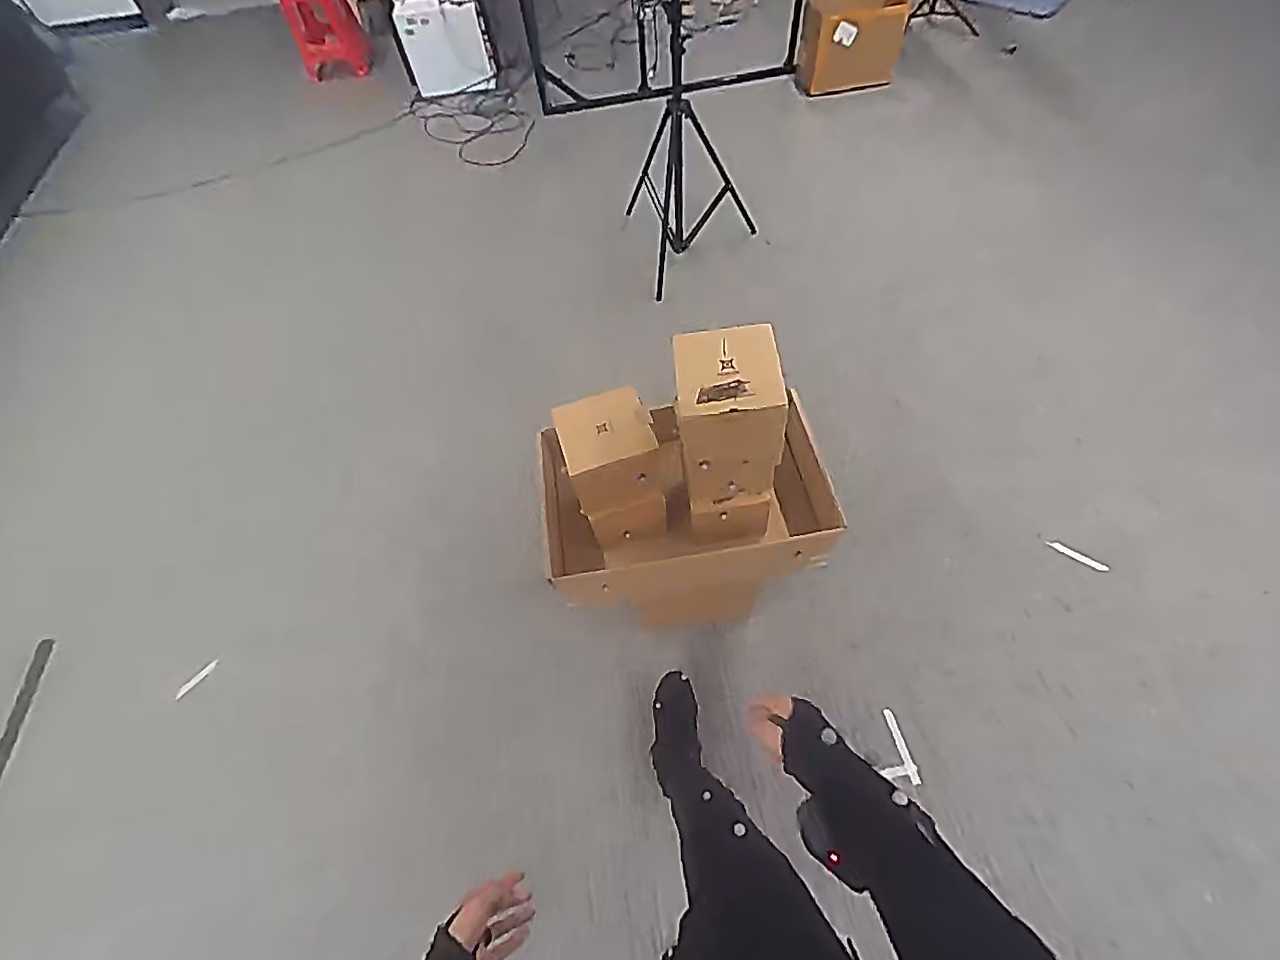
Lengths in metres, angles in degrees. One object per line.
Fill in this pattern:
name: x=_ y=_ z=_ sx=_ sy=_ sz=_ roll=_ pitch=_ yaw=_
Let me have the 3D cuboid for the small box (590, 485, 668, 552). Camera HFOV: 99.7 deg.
small box: x=-0.040 y=0.036 z=1.223 sx=0.168 sy=0.176 sz=0.179 roll=-17 pitch=60 yaw=-5

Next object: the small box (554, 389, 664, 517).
small box: x=-0.059 y=-0.050 z=1.086 sx=0.179 sy=0.176 sz=0.168 roll=-17 pitch=59 yaw=-6

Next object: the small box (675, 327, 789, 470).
small box: x=0.152 y=-0.128 z=0.917 sx=0.168 sy=0.176 sz=0.179 roll=-5 pitch=59 yaw=6
